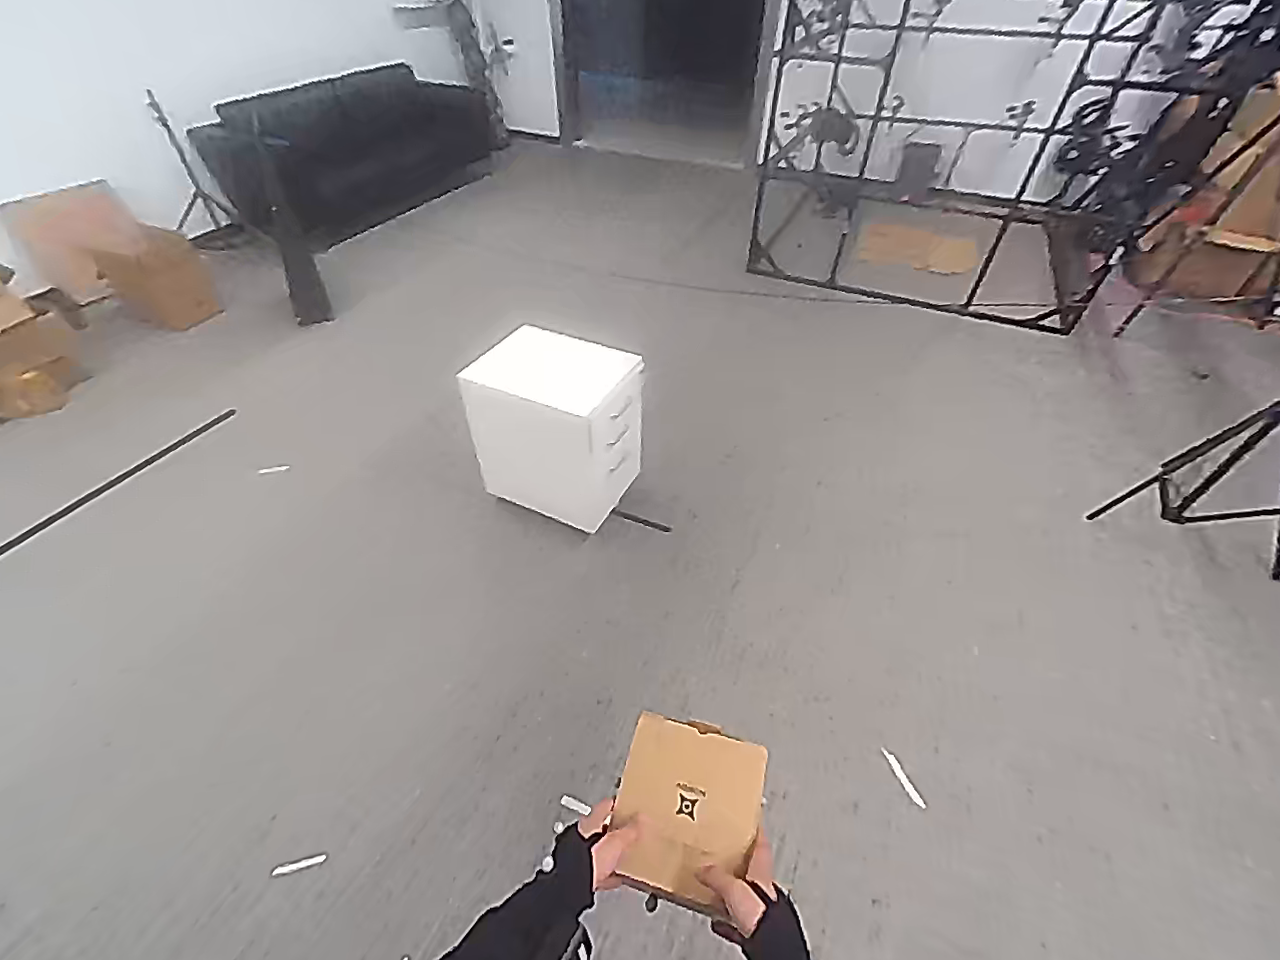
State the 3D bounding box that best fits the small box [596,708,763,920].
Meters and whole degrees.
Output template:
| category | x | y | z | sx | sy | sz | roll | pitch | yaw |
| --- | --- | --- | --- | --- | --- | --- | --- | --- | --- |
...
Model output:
| category | x | y | z | sx | sy | sz | roll | pitch | yaw |
| --- | --- | --- | --- | --- | --- | --- | --- | --- | --- |
| small box | 0.052 | 0.426 | 0.690 | 0.168 | 0.176 | 0.179 | 11 | 50 | 11 |
